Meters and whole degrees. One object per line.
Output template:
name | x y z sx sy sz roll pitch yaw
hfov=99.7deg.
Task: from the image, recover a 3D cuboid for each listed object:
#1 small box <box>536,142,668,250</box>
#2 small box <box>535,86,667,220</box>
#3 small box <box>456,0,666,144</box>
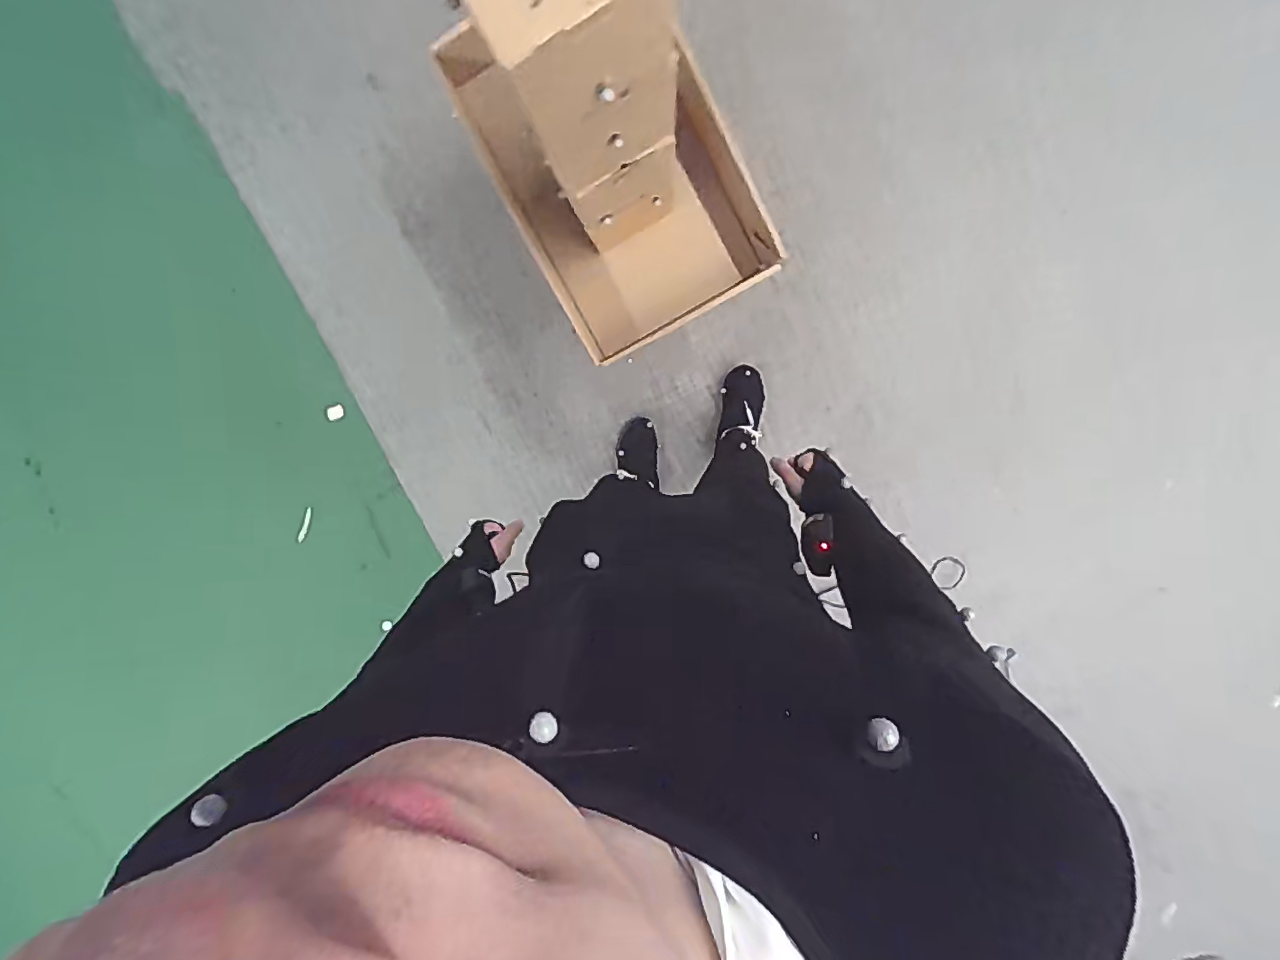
small box | -0.060 -0.553 0.994 0.179 0.176 0.168 -29 98 6
small box | -0.067 -0.529 0.832 0.168 0.176 0.179 -28 97 6
small box | -0.088 -0.469 0.508 0.168 0.176 0.179 -30 98 8
